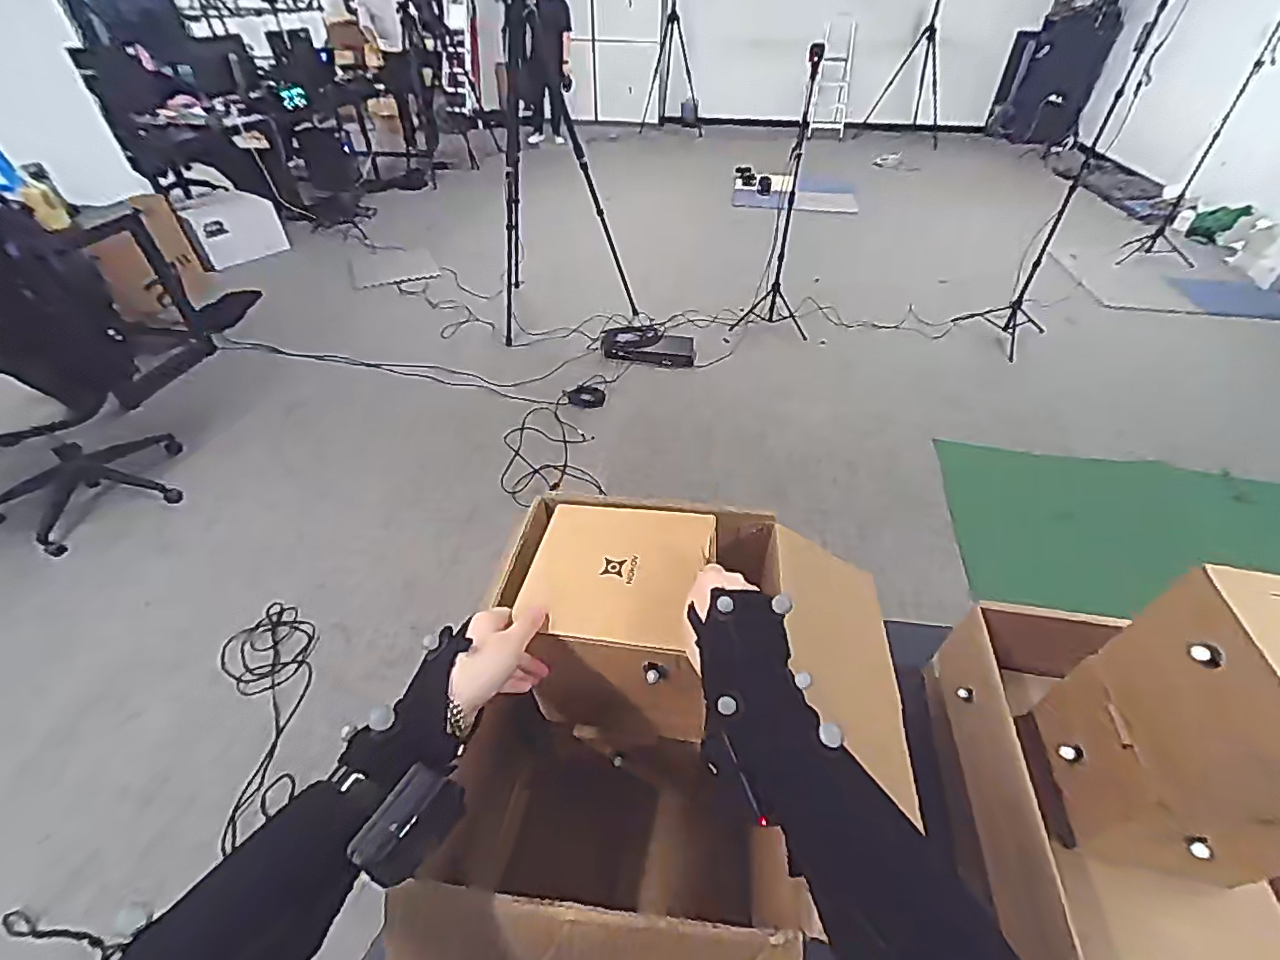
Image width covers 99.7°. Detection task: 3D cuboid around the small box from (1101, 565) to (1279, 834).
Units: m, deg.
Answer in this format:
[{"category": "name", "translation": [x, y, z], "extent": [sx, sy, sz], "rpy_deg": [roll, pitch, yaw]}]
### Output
[{"category": "small box", "translation": [0.593, 0.209, 0.507], "extent": [0.168, 0.176, 0.179], "rpy_deg": [7, 45, 8]}]

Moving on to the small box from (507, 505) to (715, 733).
[{"category": "small box", "translation": [-0.014, 0.146, 0.576], "extent": [0.179, 0.176, 0.168], "rpy_deg": [4, 41, 10]}]
